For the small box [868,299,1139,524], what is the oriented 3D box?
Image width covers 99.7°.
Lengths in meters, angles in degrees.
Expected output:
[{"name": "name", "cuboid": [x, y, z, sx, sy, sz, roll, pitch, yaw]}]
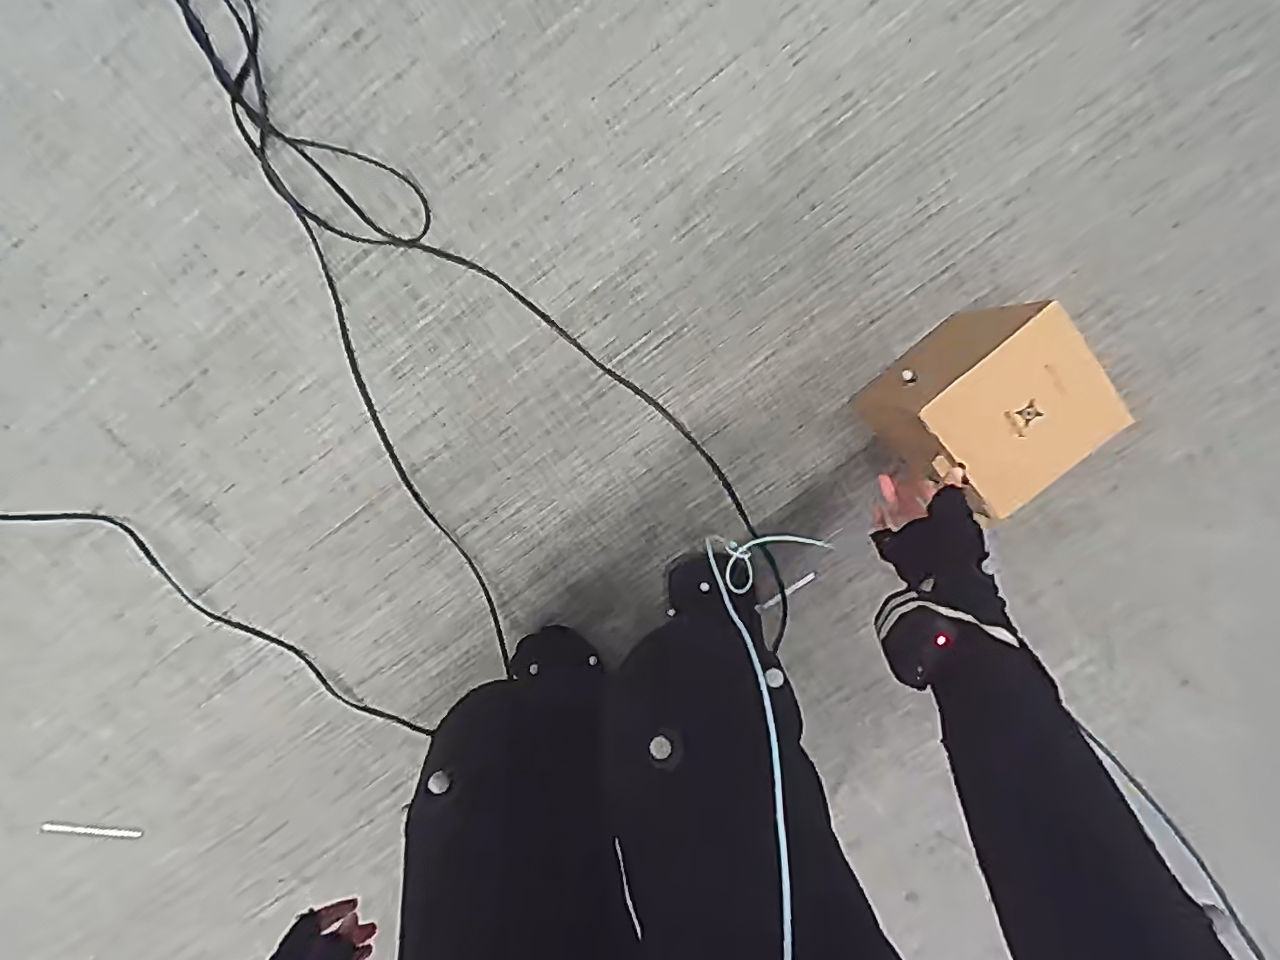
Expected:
[{"name": "small box", "cuboid": [0.399, -0.082, 0.633, 0.179, 0.176, 0.168, -41, 102, 6]}]
